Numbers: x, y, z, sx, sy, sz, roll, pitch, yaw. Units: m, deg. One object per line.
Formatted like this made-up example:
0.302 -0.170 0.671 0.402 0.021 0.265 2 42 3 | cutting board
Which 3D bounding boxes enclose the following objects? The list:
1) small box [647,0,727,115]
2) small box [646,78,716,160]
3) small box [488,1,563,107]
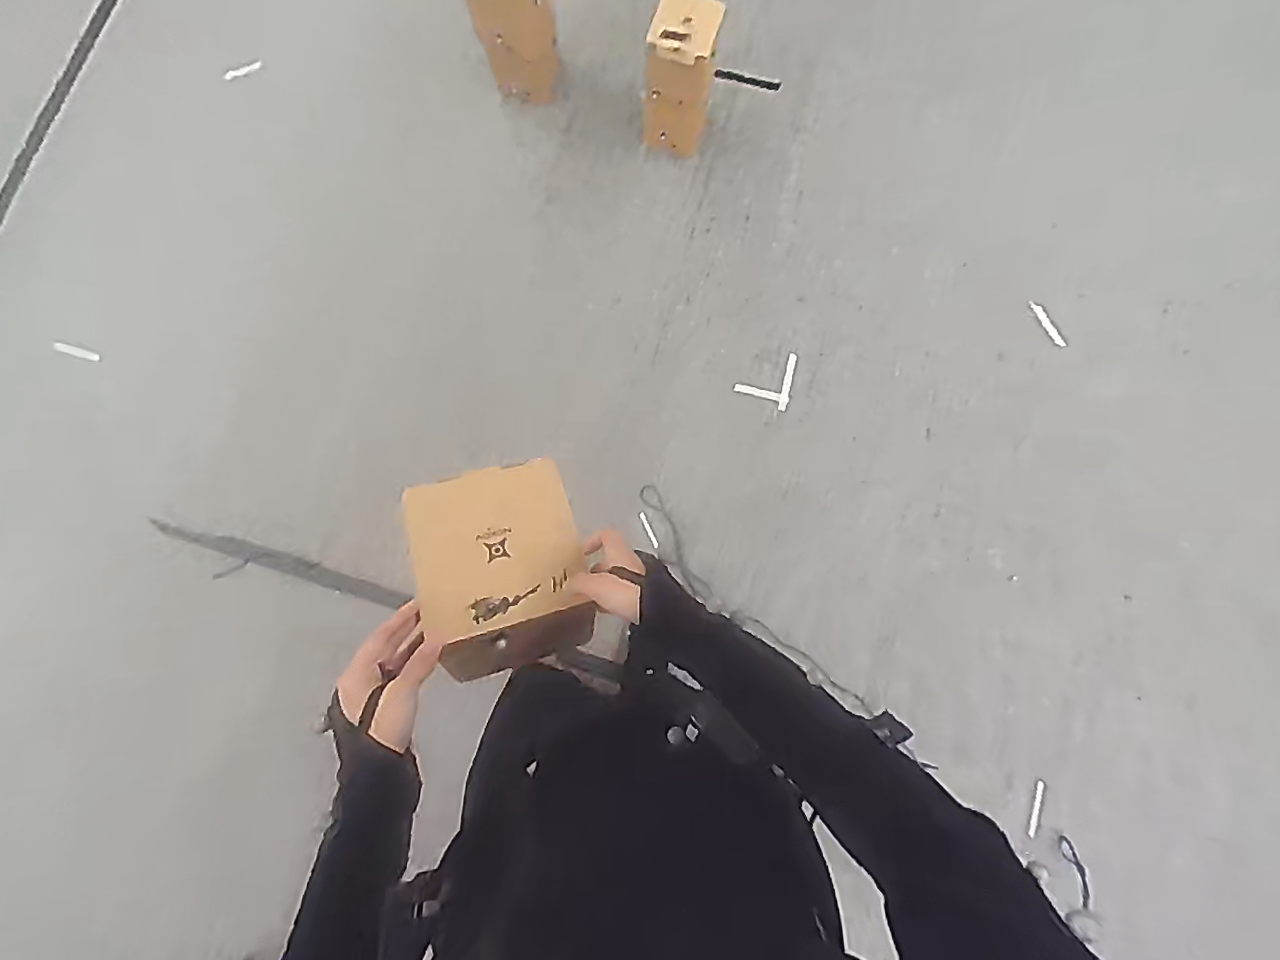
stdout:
0.122 -1.136 1.456 0.168 0.176 0.179 18 81 3 | small box
0.117 -1.111 1.618 0.168 0.176 0.179 18 82 3 | small box
-0.341 -1.295 1.652 0.168 0.176 0.179 14 81 4 | small box
